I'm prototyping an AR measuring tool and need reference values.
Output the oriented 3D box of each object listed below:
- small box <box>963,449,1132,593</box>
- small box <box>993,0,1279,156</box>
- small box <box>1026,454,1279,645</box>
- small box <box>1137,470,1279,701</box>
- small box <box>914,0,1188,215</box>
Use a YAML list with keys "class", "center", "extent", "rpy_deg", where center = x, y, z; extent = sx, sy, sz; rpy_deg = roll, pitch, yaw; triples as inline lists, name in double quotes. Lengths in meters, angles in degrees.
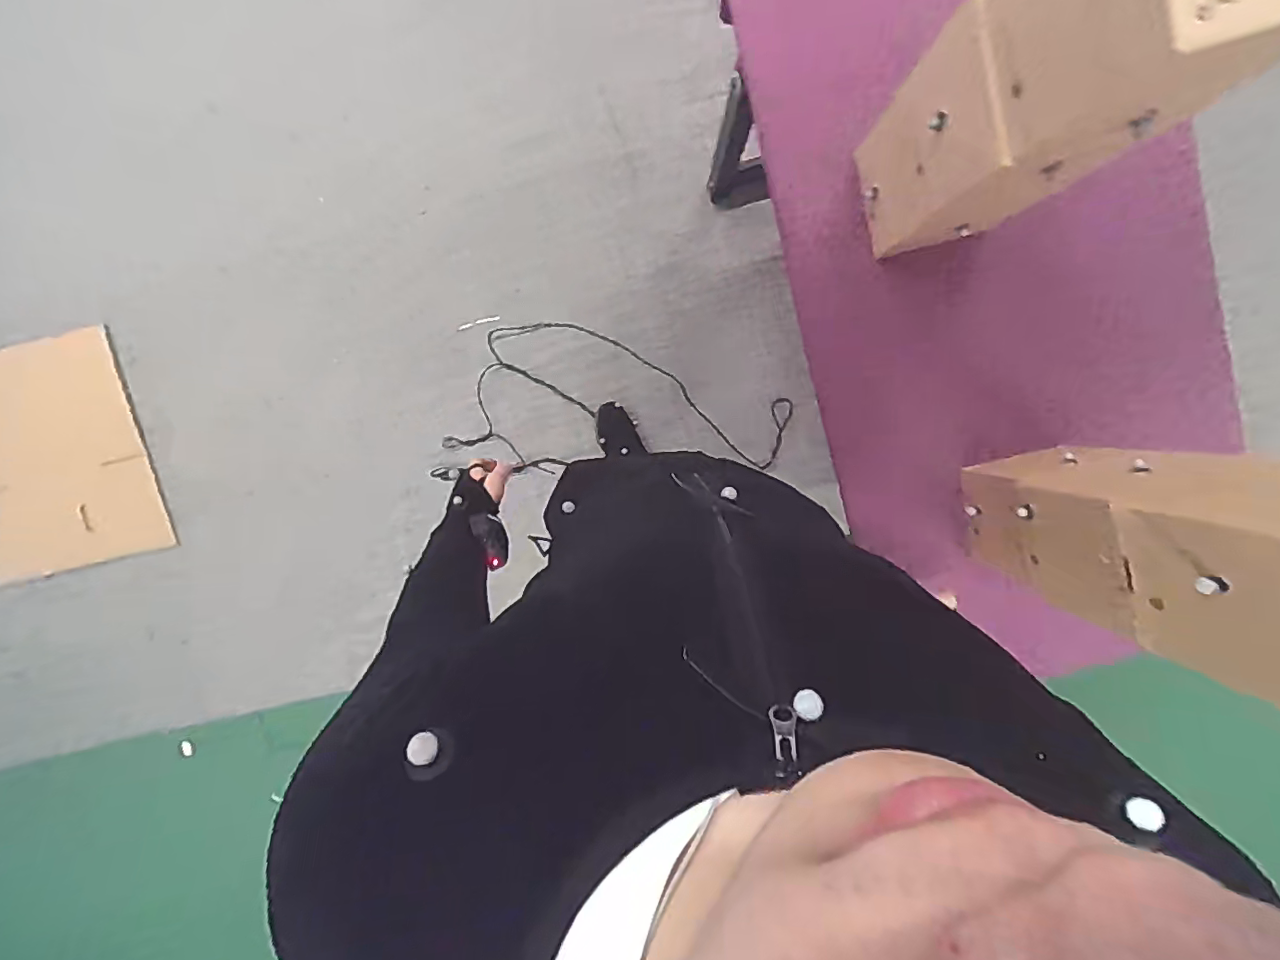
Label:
- class: "small box"
  center: [0.624, 0.051, 0.807]
  extent: [0.179, 0.176, 0.168]
  rpy_deg: [-12, 95, 4]
- class: "small box"
  center: [0.424, -0.393, 0.423]
  extent: [0.179, 0.176, 0.168]
  rpy_deg: [-15, 96, 3]
- class: "small box"
  center: [0.602, 0.070, 0.645]
  extent: [0.179, 0.176, 0.168]
  rpy_deg: [-16, 95, 2]
- class: "small box"
  center: [0.601, 0.093, 0.484]
  extent: [0.179, 0.176, 0.168]
  rpy_deg: [-15, 95, 2]
- class: "small box"
  center: [0.421, -0.413, 0.586]
  extent: [0.179, 0.176, 0.168]
  rpy_deg: [-13, 97, 3]
